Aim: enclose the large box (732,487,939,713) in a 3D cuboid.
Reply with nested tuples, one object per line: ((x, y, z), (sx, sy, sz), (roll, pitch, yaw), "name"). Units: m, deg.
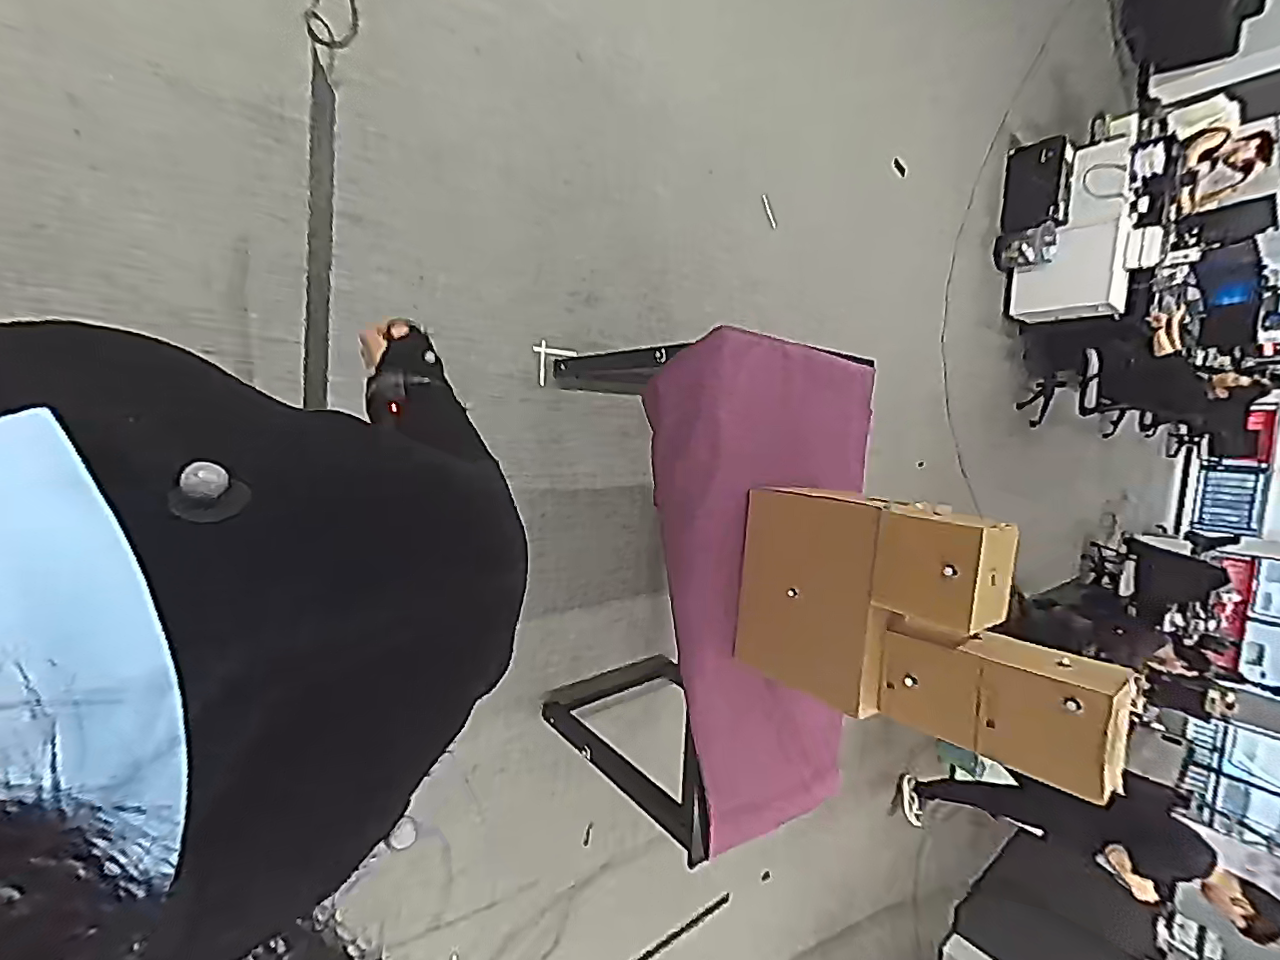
((0.427, 0.229, 1.205), (0.320, 0.320, 0.408), (0, 95, -41), "large box")

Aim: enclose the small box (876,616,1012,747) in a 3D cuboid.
((0.575, 0.367, 1.025), (0.179, 0.176, 0.168), (0, 94, -40), "small box")
